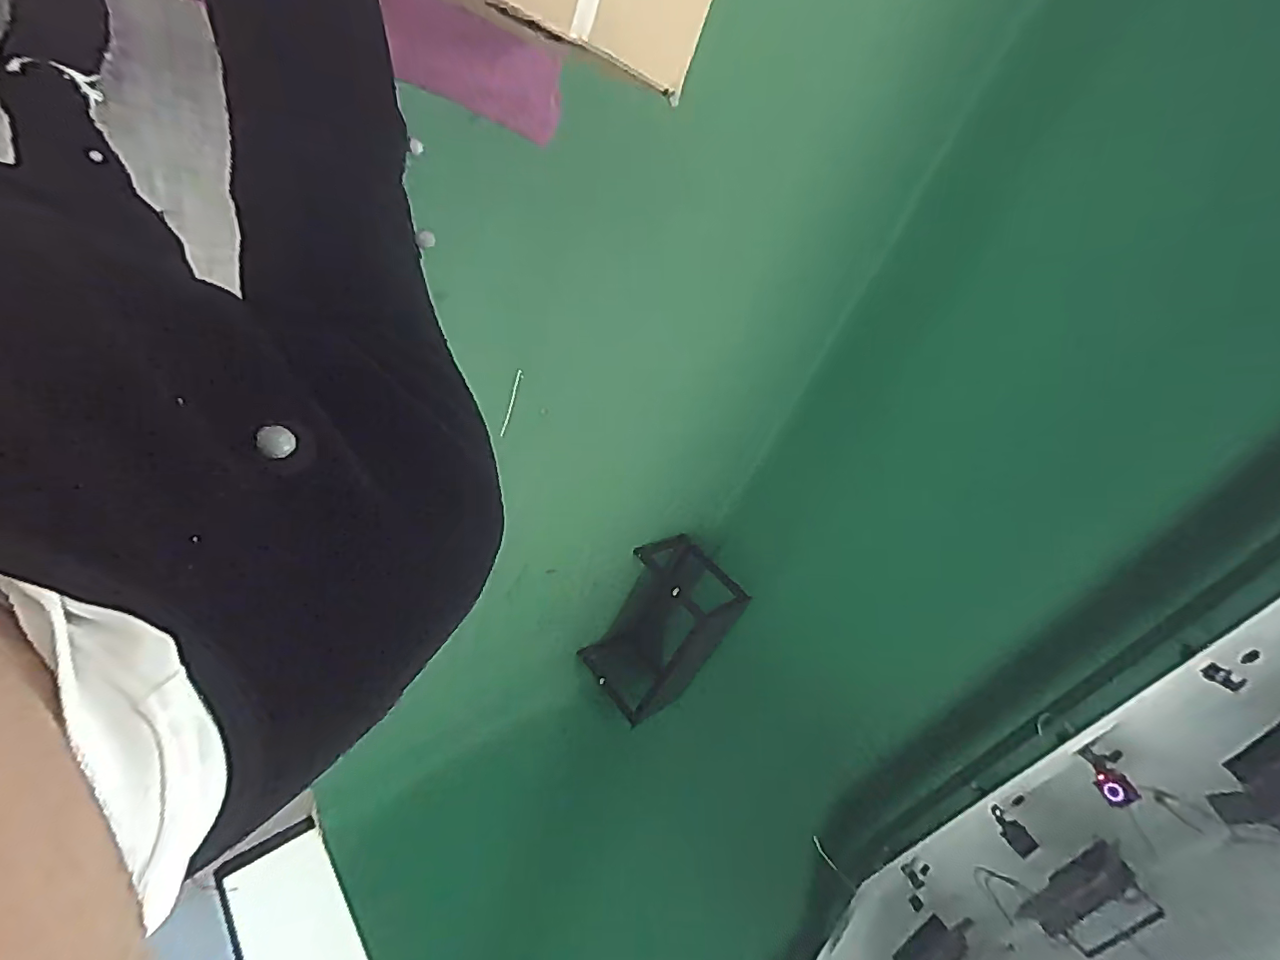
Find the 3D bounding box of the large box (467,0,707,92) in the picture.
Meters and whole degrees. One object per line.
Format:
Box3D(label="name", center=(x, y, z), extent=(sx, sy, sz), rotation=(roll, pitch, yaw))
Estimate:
Box3D(label="large box", center=(-0.087, -0.665, 0.479), extent=(0.320, 0.320, 0.408), rotation=(-12, 138, -45))
